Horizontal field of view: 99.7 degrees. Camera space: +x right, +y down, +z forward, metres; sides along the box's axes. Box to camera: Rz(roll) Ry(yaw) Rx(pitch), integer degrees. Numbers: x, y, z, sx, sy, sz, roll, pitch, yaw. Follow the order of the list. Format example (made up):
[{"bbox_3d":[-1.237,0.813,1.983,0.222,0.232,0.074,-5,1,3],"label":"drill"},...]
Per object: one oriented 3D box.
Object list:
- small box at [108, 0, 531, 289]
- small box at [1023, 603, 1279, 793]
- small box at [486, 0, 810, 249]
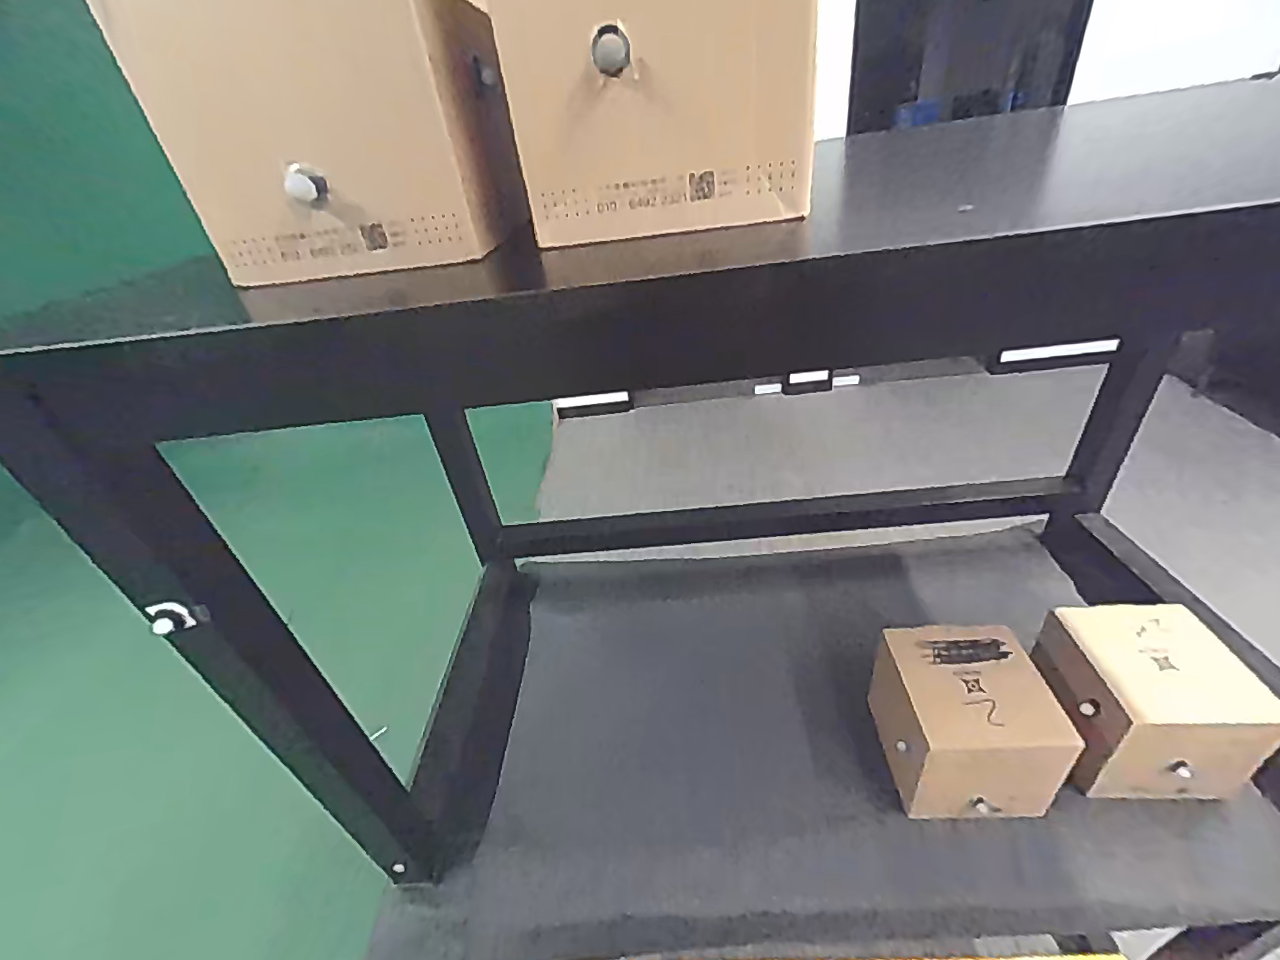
[{"bbox_3d":[-0.181,-0.240,0.366,0.168,0.176,0.179,-4,35,6],"label":"small box"},{"bbox_3d":[0.650,0.286,0.713,0.168,0.176,0.179,-3,34,8],"label":"small box"},{"bbox_3d":[0.014,-0.258,0.354,0.168,0.176,0.179,-4,34,7],"label":"small box"}]
